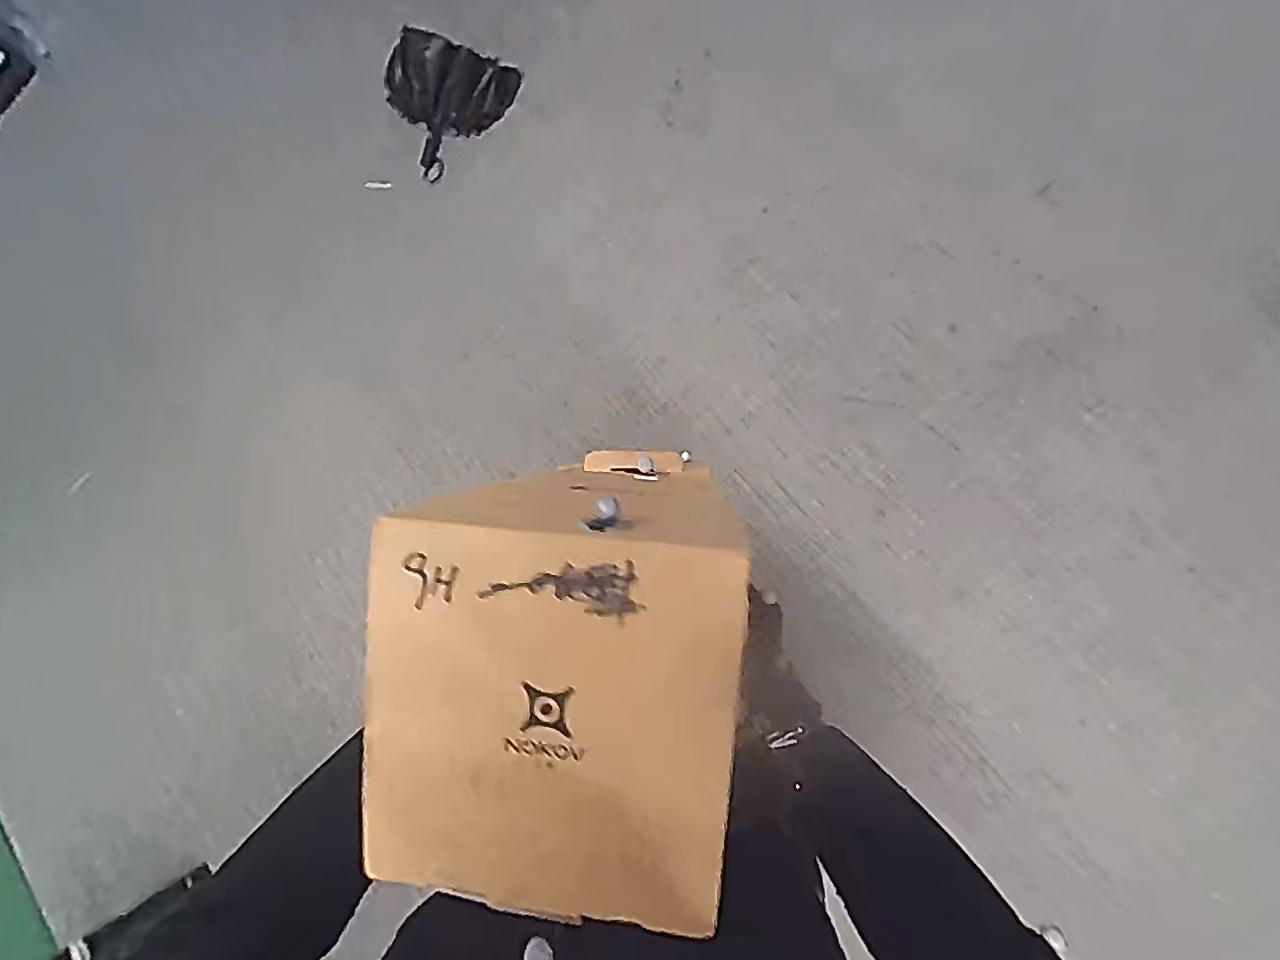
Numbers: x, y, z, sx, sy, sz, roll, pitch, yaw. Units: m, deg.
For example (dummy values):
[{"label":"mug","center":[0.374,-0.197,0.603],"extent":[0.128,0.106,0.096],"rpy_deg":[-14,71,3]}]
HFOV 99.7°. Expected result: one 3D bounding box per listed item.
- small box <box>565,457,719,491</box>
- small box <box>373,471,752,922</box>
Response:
[{"label":"small box","center":[0.006,0.063,0.643],"extent":[0.168,0.176,0.179],"rpy_deg":[2,95,7]},{"label":"small box","center":[-0.031,0.097,0.321],"extent":[0.168,0.176,0.179],"rpy_deg":[6,98,6]}]
